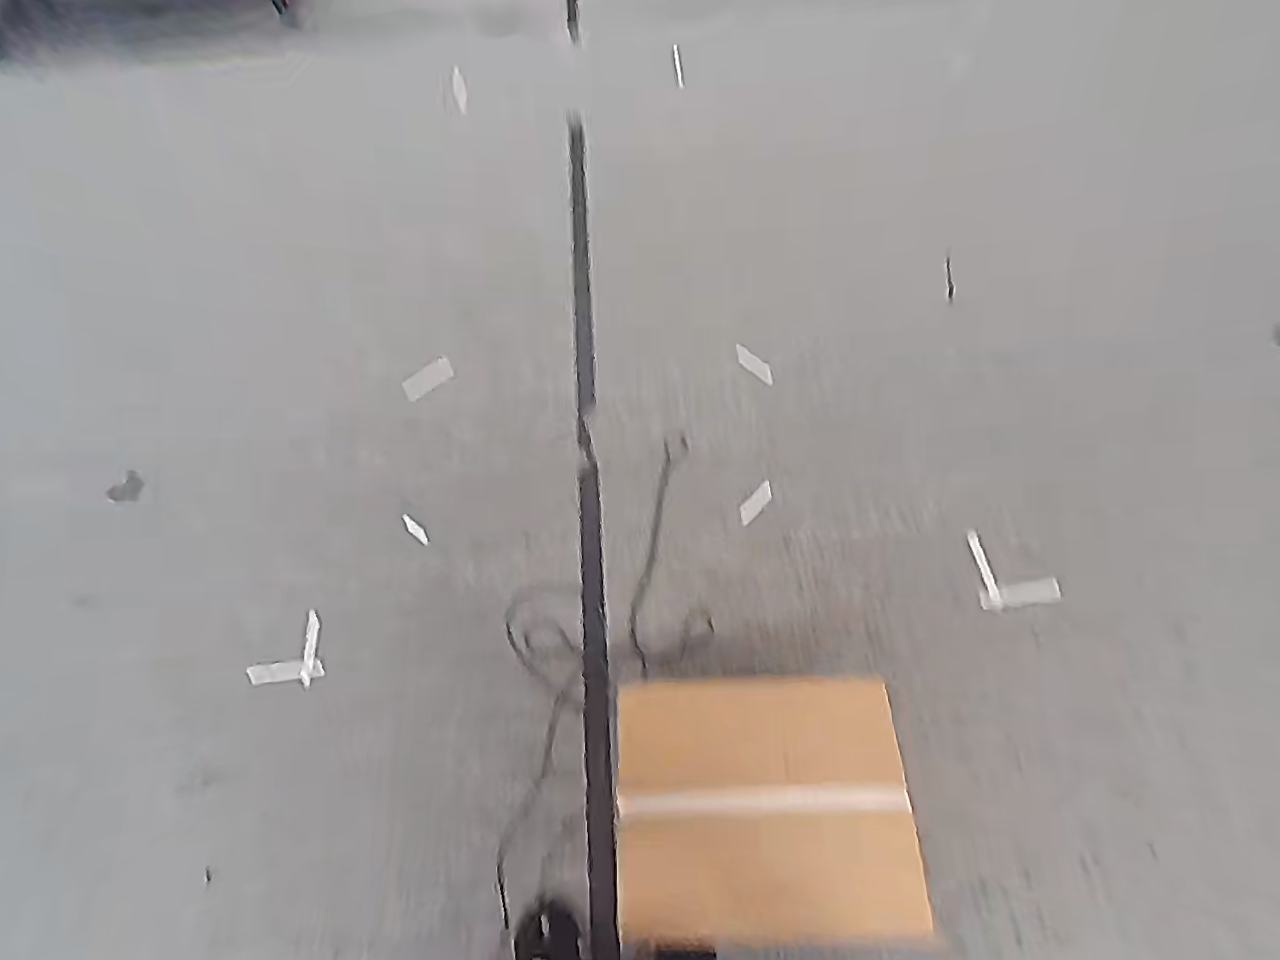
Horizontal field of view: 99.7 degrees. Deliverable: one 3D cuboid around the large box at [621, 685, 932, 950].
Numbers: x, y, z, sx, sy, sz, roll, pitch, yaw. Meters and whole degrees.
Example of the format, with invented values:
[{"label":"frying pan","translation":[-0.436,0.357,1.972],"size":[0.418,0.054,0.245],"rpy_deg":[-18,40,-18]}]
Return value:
[{"label":"large box","translation":[0.178,0.525,0.894],"size":[0.408,0.320,0.320],"rpy_deg":[-2,65,1]}]
